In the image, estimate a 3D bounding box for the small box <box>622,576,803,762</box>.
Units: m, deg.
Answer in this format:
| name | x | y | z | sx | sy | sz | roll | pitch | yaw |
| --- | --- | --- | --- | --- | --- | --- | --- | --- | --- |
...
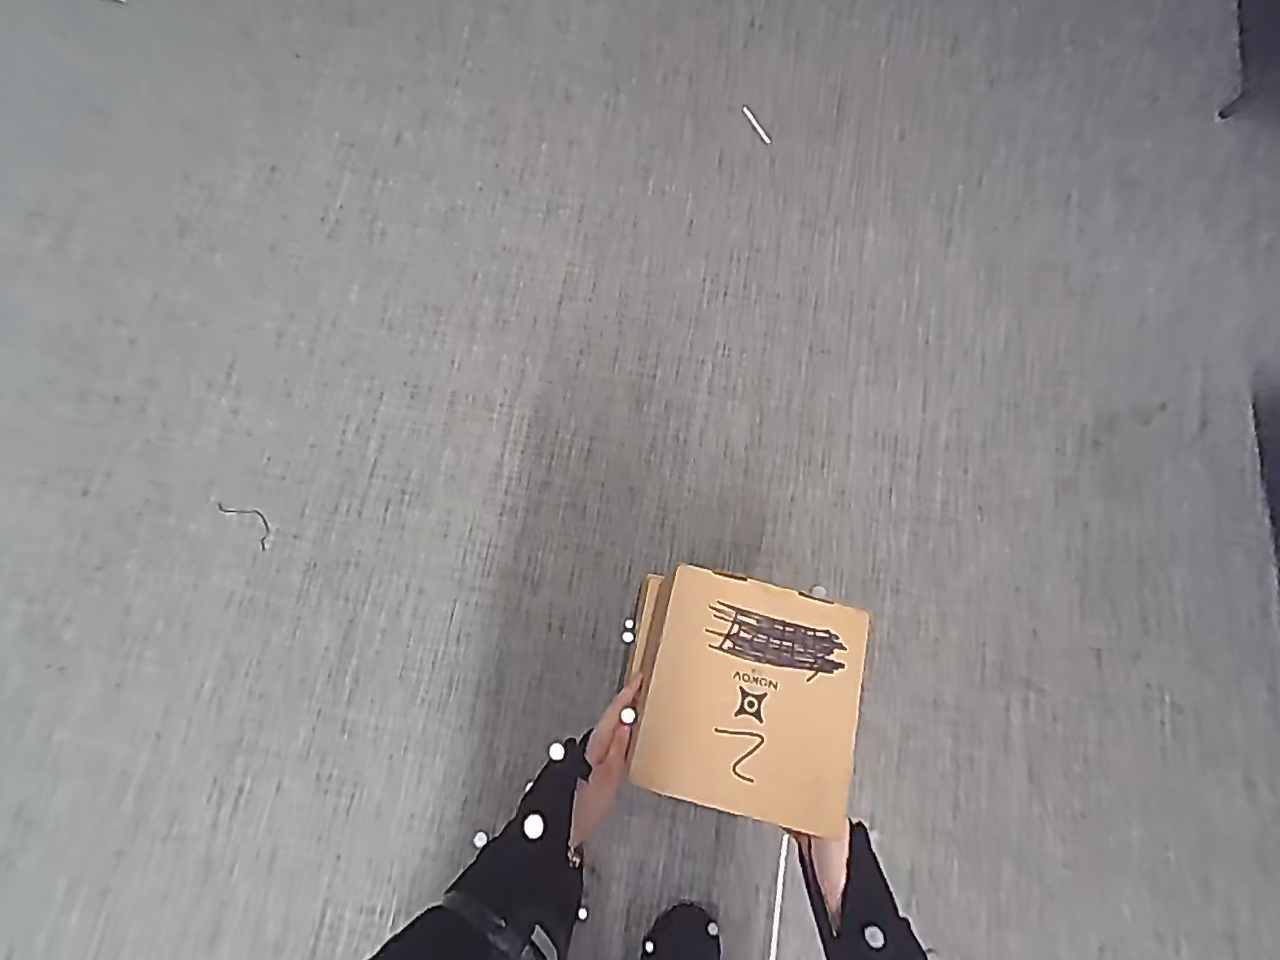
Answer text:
| name | x | y | z | sx | sy | sz | roll | pitch | yaw |
| --- | --- | --- | --- | --- | --- | --- | --- | --- | --- |
| small box | 0.079 | 0.219 | 0.666 | 0.179 | 0.176 | 0.168 | 12 | 79 | 1 |
